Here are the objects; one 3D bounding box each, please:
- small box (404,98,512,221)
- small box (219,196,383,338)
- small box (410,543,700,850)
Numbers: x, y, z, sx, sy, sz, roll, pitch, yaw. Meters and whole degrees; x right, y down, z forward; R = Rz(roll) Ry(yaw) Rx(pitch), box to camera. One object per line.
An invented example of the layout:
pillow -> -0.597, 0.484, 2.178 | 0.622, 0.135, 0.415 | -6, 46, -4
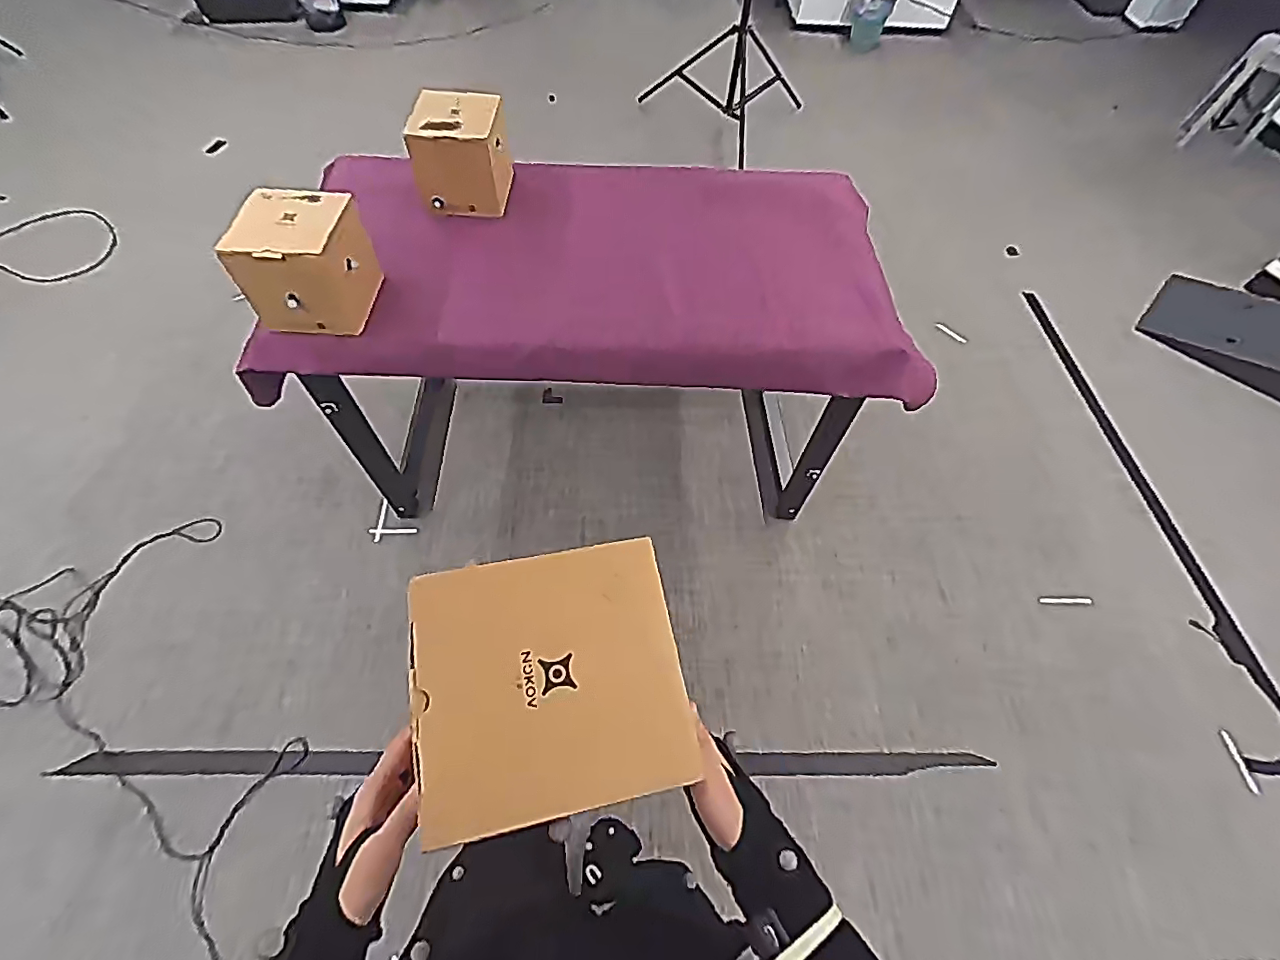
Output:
small box -> -0.379, -0.684, 1.163 | 0.168, 0.176, 0.179 | 3, 59, -2
small box -> -0.583, -0.372, 0.960 | 0.168, 0.176, 0.179 | 2, 58, -2
small box -> -0.068, 0.163, 0.434 | 0.179, 0.176, 0.168 | -9, 67, -9
